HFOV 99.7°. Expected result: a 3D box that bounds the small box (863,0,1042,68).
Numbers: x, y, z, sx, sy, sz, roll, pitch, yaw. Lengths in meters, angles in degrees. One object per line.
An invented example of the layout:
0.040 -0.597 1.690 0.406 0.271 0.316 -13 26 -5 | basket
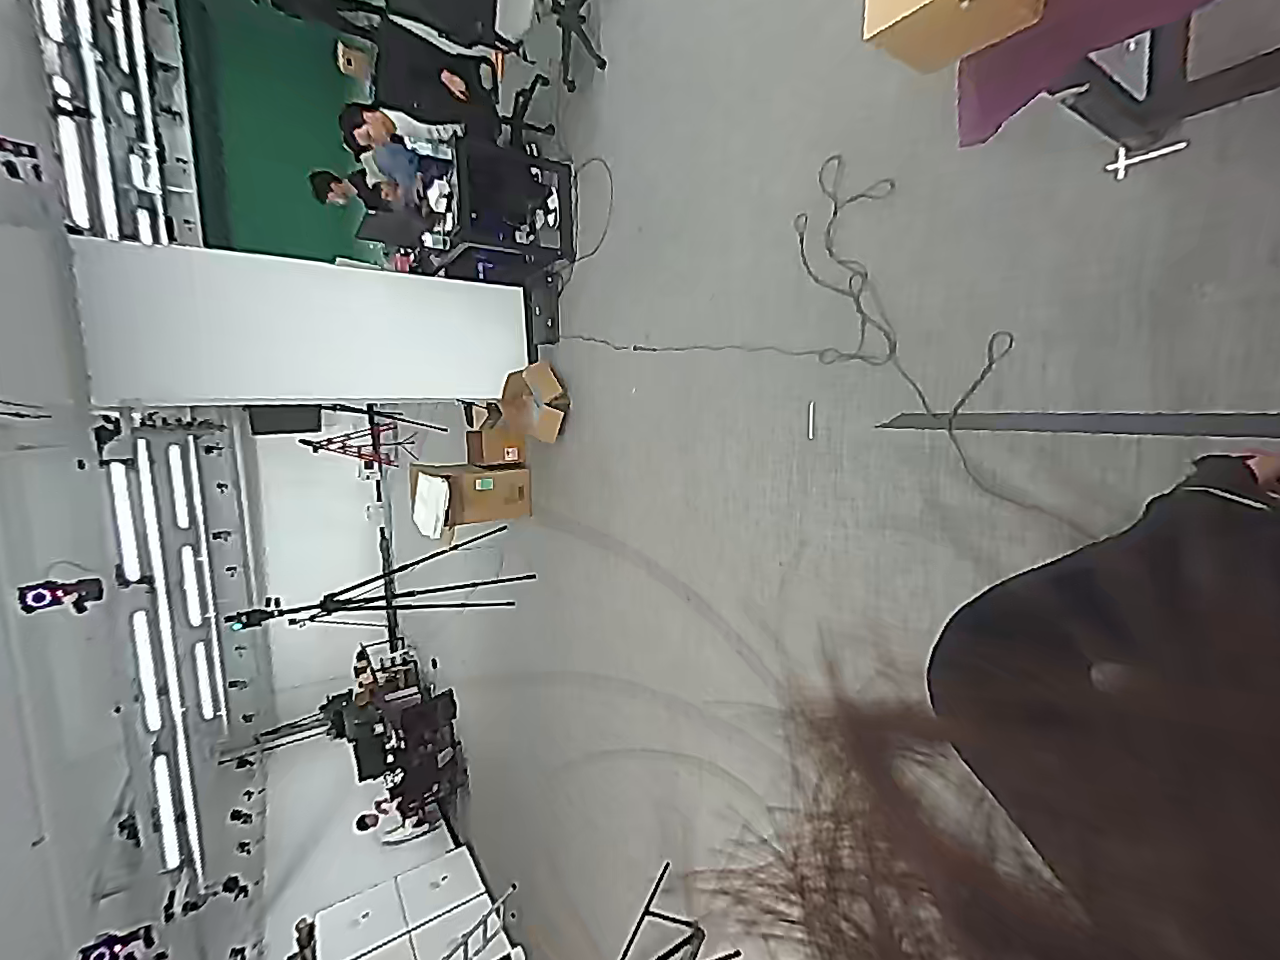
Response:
0.451 -0.741 0.776 0.179 0.176 0.168 12 105 54 | small box
